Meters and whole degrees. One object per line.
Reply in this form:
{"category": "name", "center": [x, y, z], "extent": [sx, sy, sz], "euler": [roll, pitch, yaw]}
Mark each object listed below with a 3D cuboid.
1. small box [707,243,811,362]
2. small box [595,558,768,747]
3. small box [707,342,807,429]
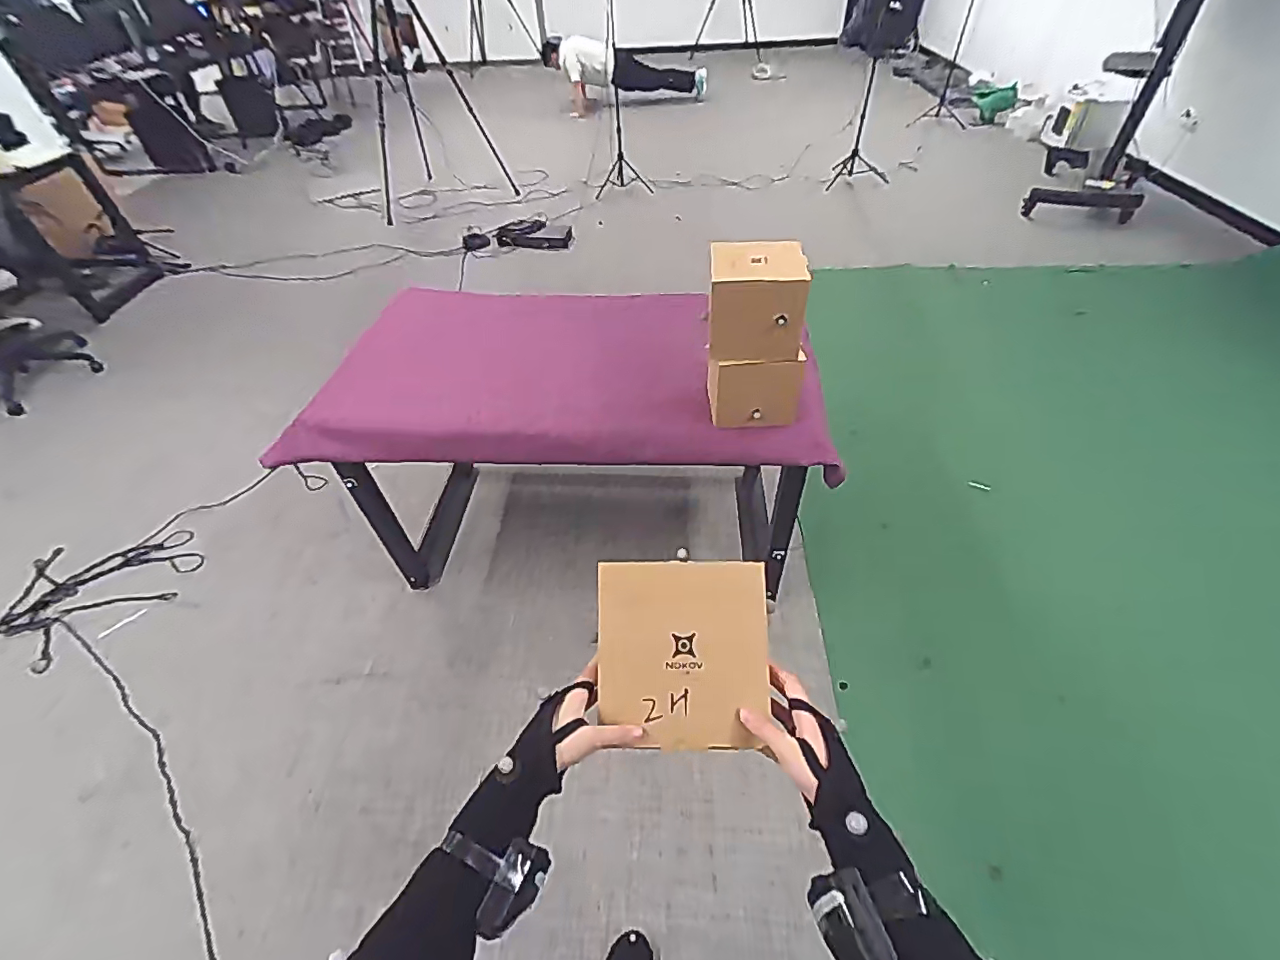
{"category": "small box", "center": [0.224, -0.344, 1.056], "extent": [0.179, 0.176, 0.168], "euler": [1, 46, 7]}
{"category": "small box", "center": [0.041, 0.176, 0.598], "extent": [0.168, 0.176, 0.179], "euler": [0, 82, 2]}
{"category": "small box", "center": [0.243, -0.225, 1.168], "extent": [0.179, 0.176, 0.168], "euler": [-2, 46, 2]}
